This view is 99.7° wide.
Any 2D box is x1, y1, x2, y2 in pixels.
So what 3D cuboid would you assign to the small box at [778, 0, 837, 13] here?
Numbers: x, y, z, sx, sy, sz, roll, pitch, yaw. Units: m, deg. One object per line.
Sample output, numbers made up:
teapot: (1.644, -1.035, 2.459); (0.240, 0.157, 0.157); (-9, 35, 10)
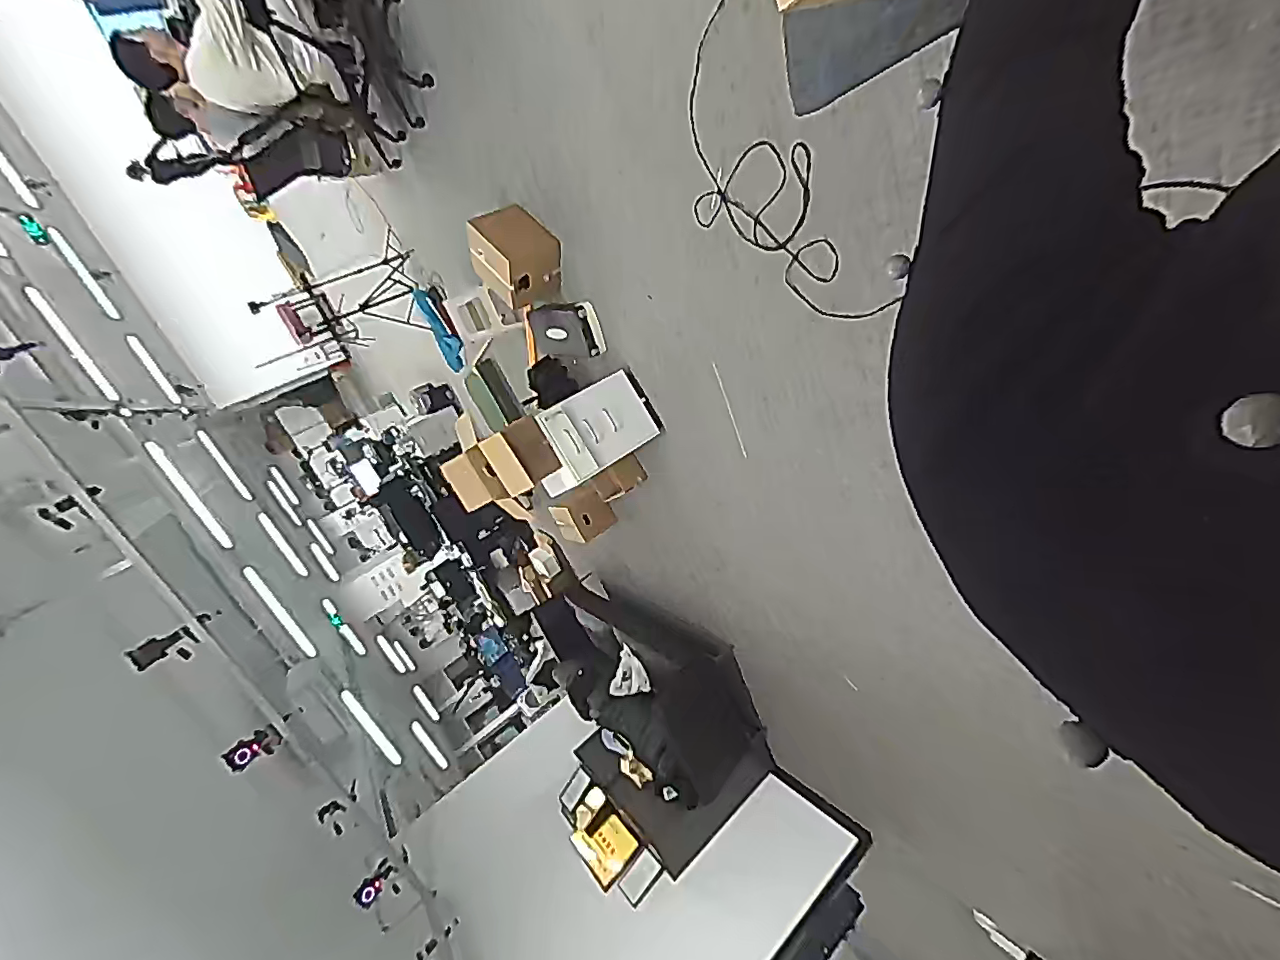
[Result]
small box: (0.229, -0.590, 0.503); (0.179, 0.176, 0.168); (14, 132, 55)
